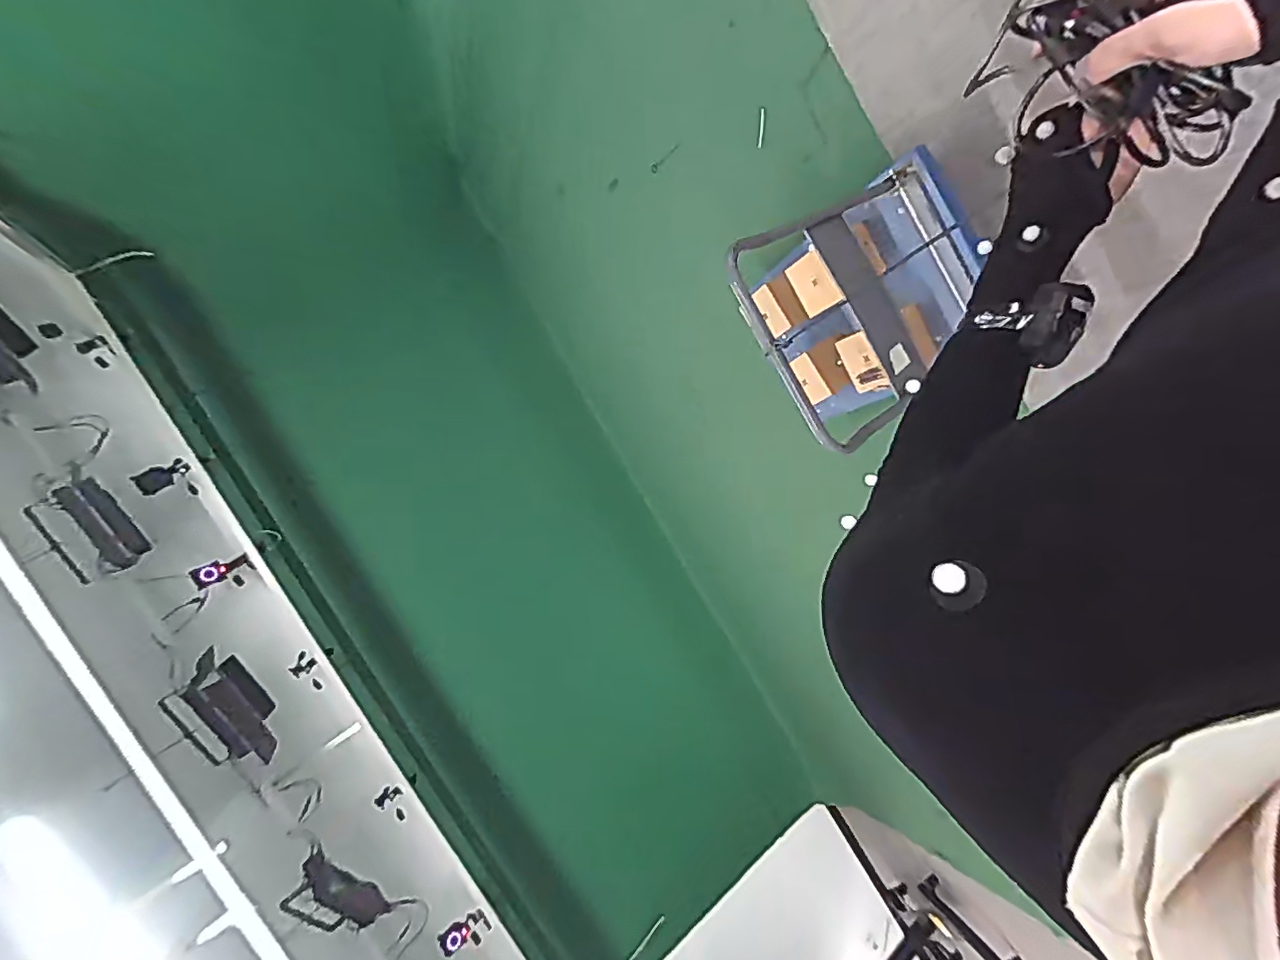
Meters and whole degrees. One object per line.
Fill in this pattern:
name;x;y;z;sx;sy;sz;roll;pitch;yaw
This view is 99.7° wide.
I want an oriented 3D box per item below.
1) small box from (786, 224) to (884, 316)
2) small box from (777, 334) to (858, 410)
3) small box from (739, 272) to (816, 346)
small box;0.572;-0.614;1.587;0.168;0.176;0.179;60;158;-5
small box;0.611;-0.368;1.837;0.168;0.176;0.179;58;159;0
small box;0.477;-0.586;1.830;0.168;0.176;0.179;58;158;-2
